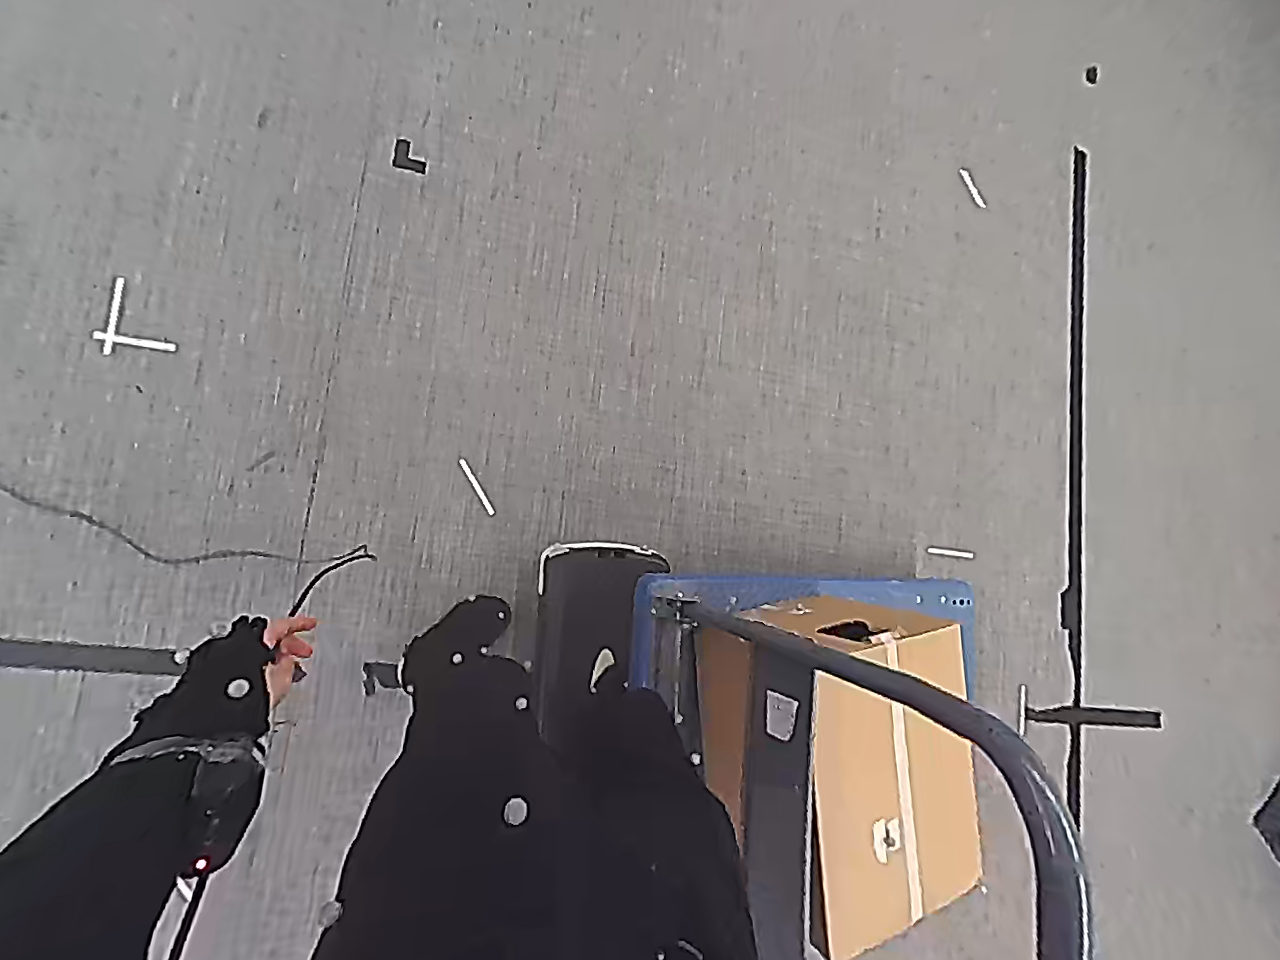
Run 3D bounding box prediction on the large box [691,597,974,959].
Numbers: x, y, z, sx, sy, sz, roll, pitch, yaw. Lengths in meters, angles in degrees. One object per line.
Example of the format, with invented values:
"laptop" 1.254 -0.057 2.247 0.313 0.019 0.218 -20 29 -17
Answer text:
"large box" 0.307 0.443 0.923 0.320 0.320 0.408 -4 89 -24
